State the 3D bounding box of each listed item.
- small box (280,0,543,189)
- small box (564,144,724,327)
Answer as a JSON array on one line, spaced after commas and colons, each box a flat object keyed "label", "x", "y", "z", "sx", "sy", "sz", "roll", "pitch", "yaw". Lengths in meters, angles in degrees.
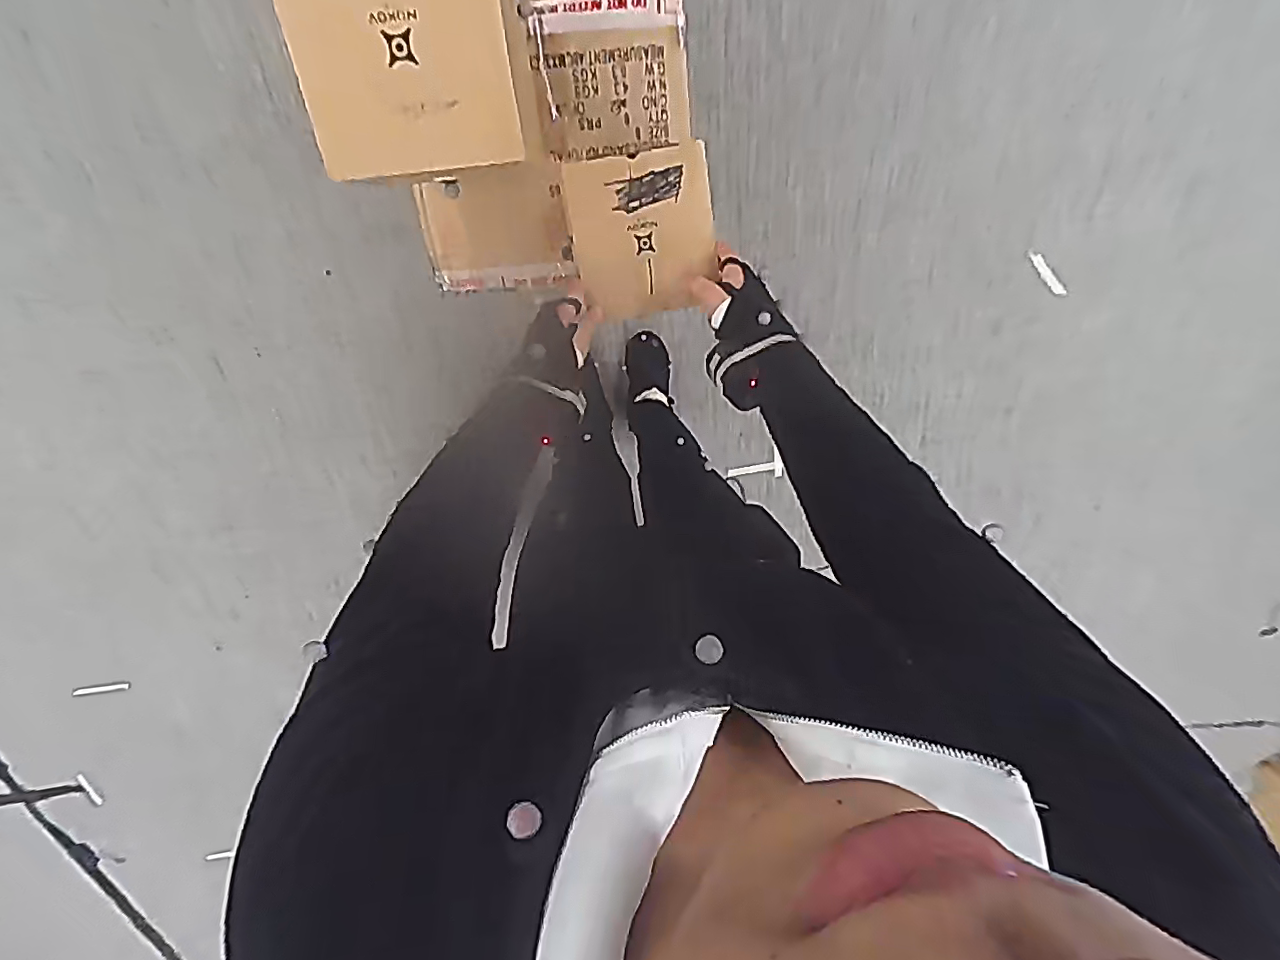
[{"label": "small box", "x": -0.187, "y": -0.368, "z": 0.483, "sx": 0.168, "sy": 0.176, "sz": 0.179, "roll": -7, "pitch": 118, "yaw": -1}, {"label": "small box", "x": -0.002, "y": -0.300, "z": 0.697, "sx": 0.168, "sy": 0.176, "sz": 0.179, "roll": -11, "pitch": 107, "yaw": -3}]
